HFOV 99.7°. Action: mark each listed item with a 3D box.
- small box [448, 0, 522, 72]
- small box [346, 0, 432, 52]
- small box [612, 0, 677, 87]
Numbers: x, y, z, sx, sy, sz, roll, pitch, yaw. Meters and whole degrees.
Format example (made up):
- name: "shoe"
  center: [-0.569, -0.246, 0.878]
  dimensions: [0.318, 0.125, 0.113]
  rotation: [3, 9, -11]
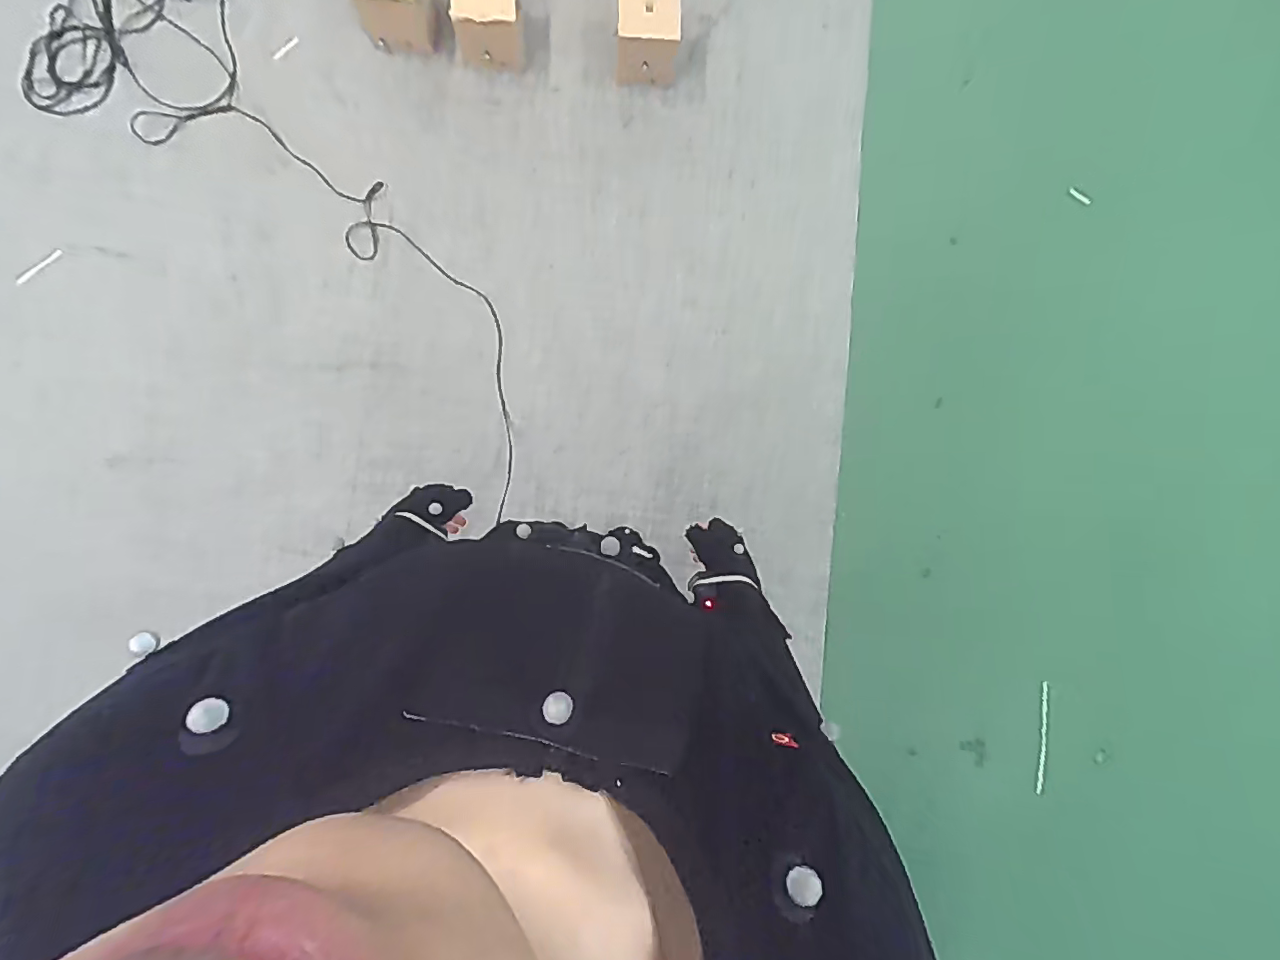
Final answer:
- name: "small box"
  center: [-0.415, -1.256, 1.462]
  dimensions: [0.168, 0.176, 0.179]
  rotation: [-1, 88, -4]
- name: "small box"
  center: [-0.666, -1.295, 1.445]
  dimensions: [0.168, 0.176, 0.179]
  rotation: [2, 86, -4]
- name: "small box"
  center: [0.010, -1.230, 1.492]
  dimensions: [0.168, 0.176, 0.179]
  rotation: [0, 87, -5]
